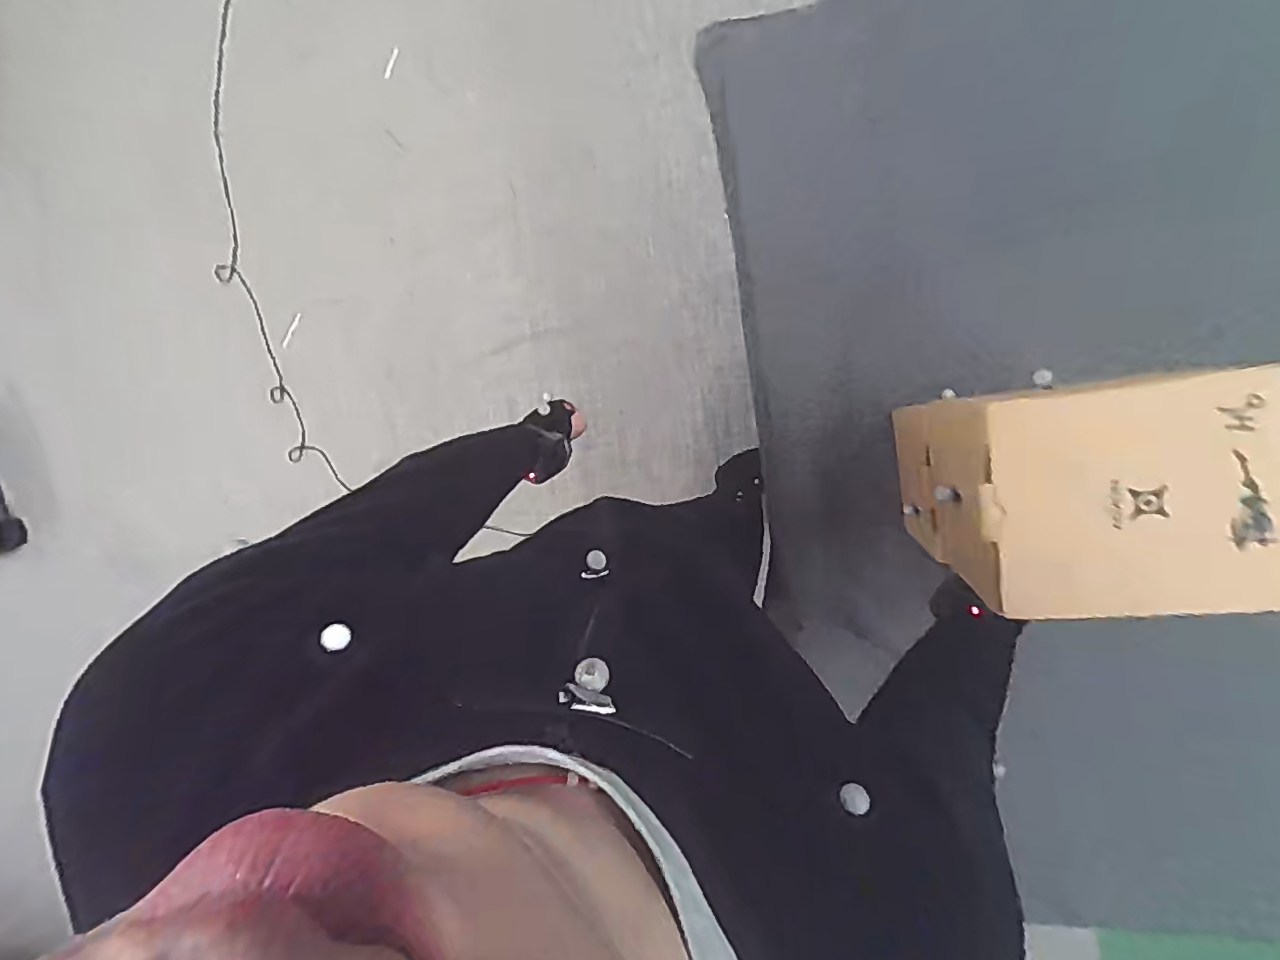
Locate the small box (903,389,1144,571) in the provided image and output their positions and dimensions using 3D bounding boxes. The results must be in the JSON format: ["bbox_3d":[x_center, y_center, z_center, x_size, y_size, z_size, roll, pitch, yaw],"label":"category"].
[{"bbox_3d":[0.408,-0.003,0.611,0.179,0.176,0.168,-8,94,15],"label":"small box"}]
